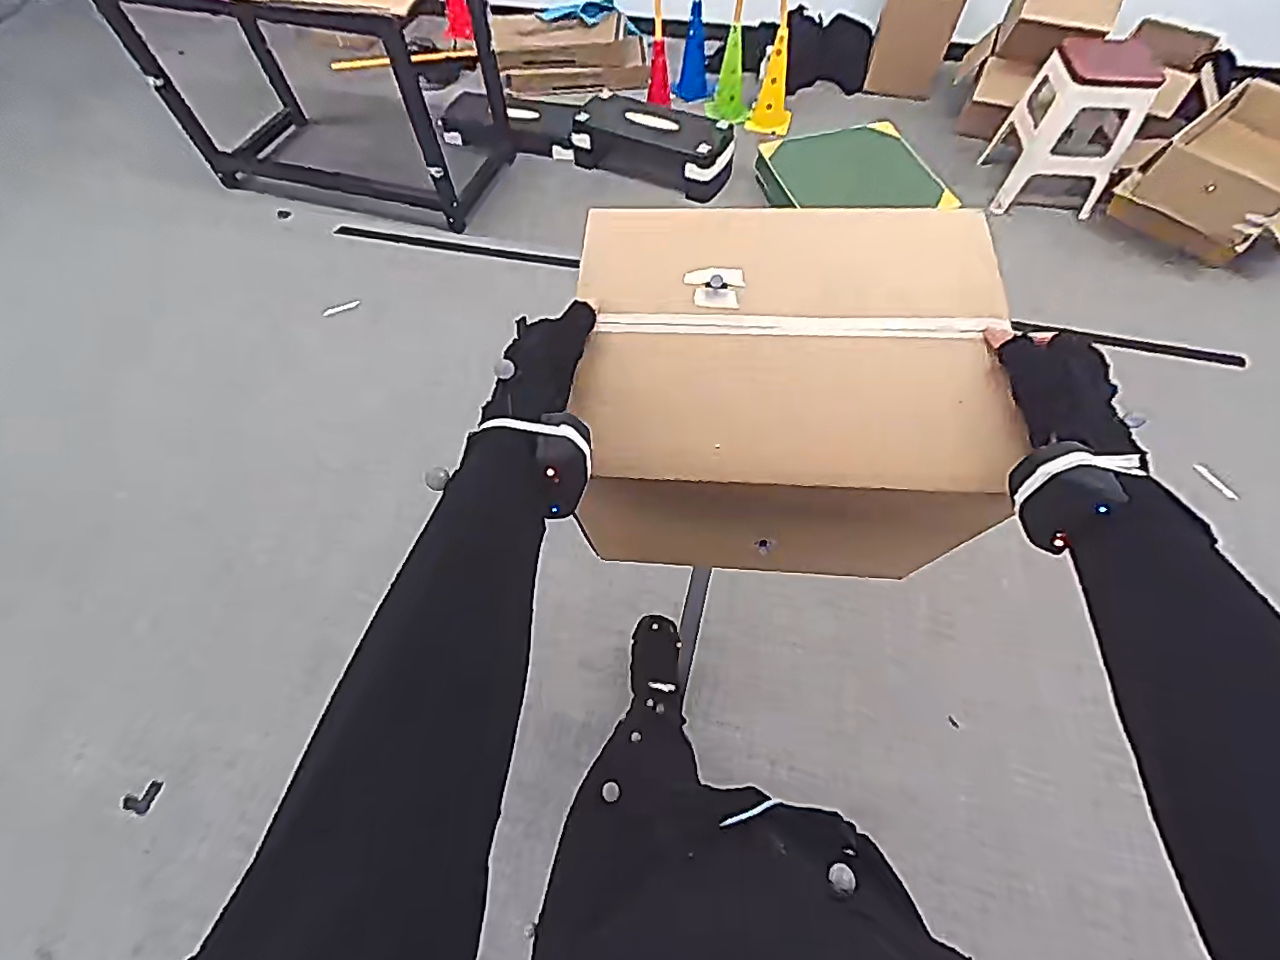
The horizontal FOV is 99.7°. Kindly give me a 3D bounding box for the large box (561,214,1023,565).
[{"bbox_3d":[0.150,-0.086,0.664,0.408,0.320,0.320,3,67,7],"label":"large box"}]
